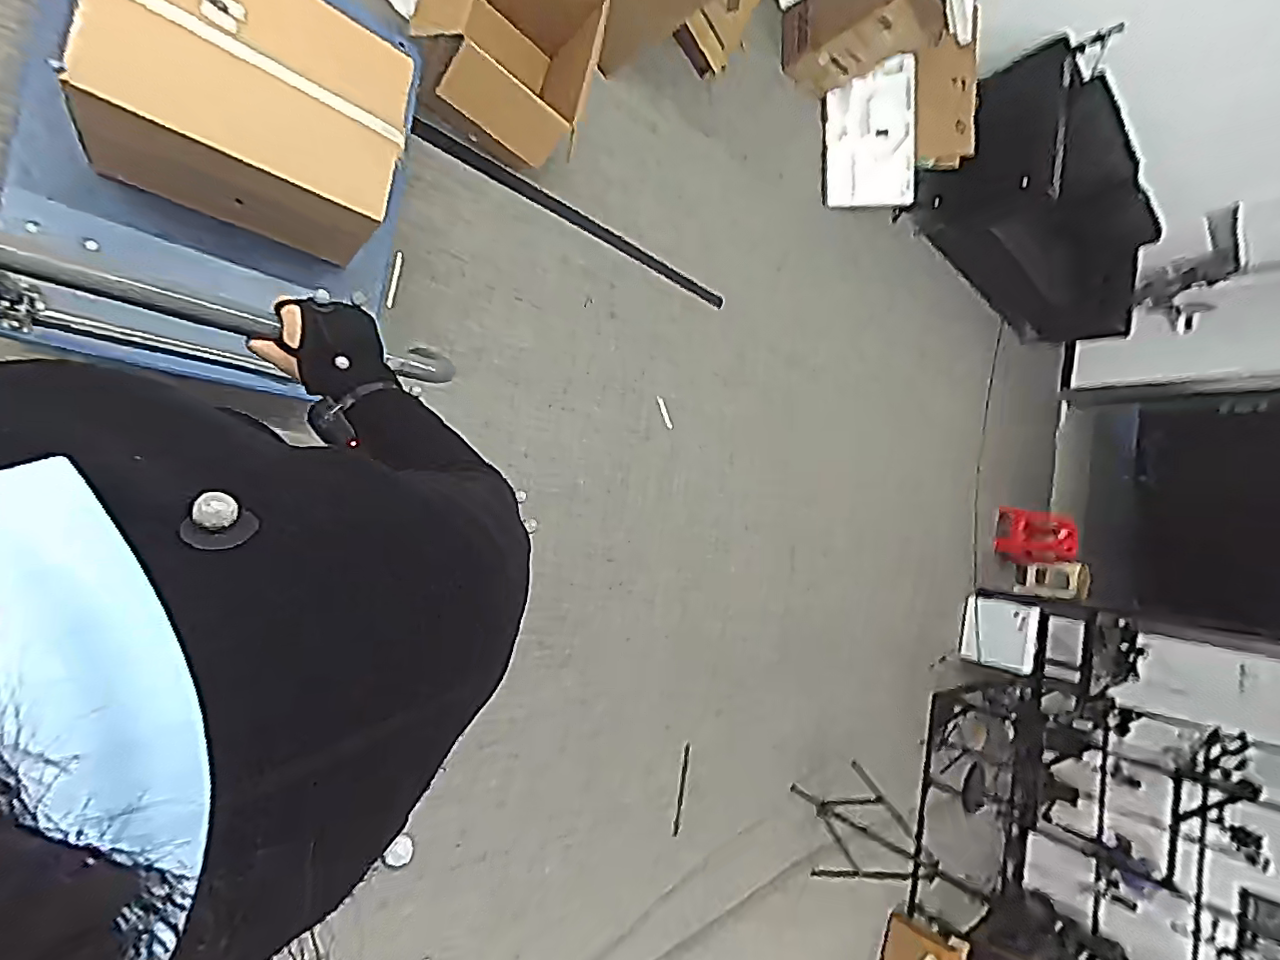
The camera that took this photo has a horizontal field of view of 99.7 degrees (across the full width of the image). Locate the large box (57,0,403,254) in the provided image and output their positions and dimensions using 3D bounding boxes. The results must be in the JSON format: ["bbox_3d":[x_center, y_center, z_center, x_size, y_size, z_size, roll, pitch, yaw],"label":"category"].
[{"bbox_3d":[-0.693,-0.661,0.964,0.408,0.320,0.320,12,84,-39],"label":"large box"}]
